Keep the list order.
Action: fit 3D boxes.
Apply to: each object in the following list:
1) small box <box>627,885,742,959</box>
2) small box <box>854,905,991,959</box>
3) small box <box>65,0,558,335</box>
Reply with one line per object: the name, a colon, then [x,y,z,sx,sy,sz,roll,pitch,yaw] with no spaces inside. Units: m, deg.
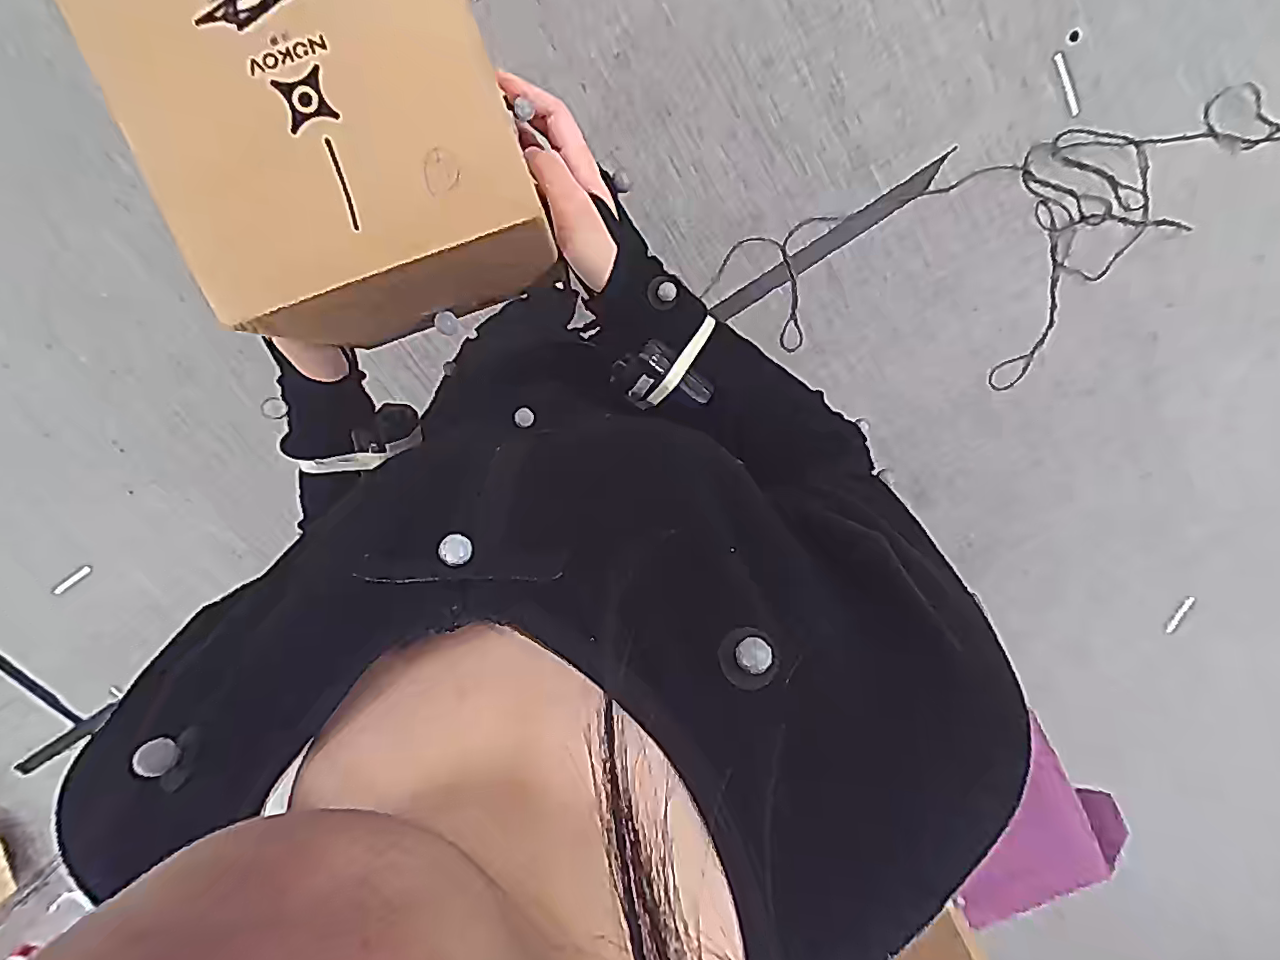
small box: [0.084,0.893,0.988,0.179,0.176,0.168,-30,107,10]
small box: [0.446,0.769,0.780,0.168,0.176,0.179,-35,108,10]
small box: [-0.157,-0.199,0.318,0.168,0.176,0.179,-19,102,0]
